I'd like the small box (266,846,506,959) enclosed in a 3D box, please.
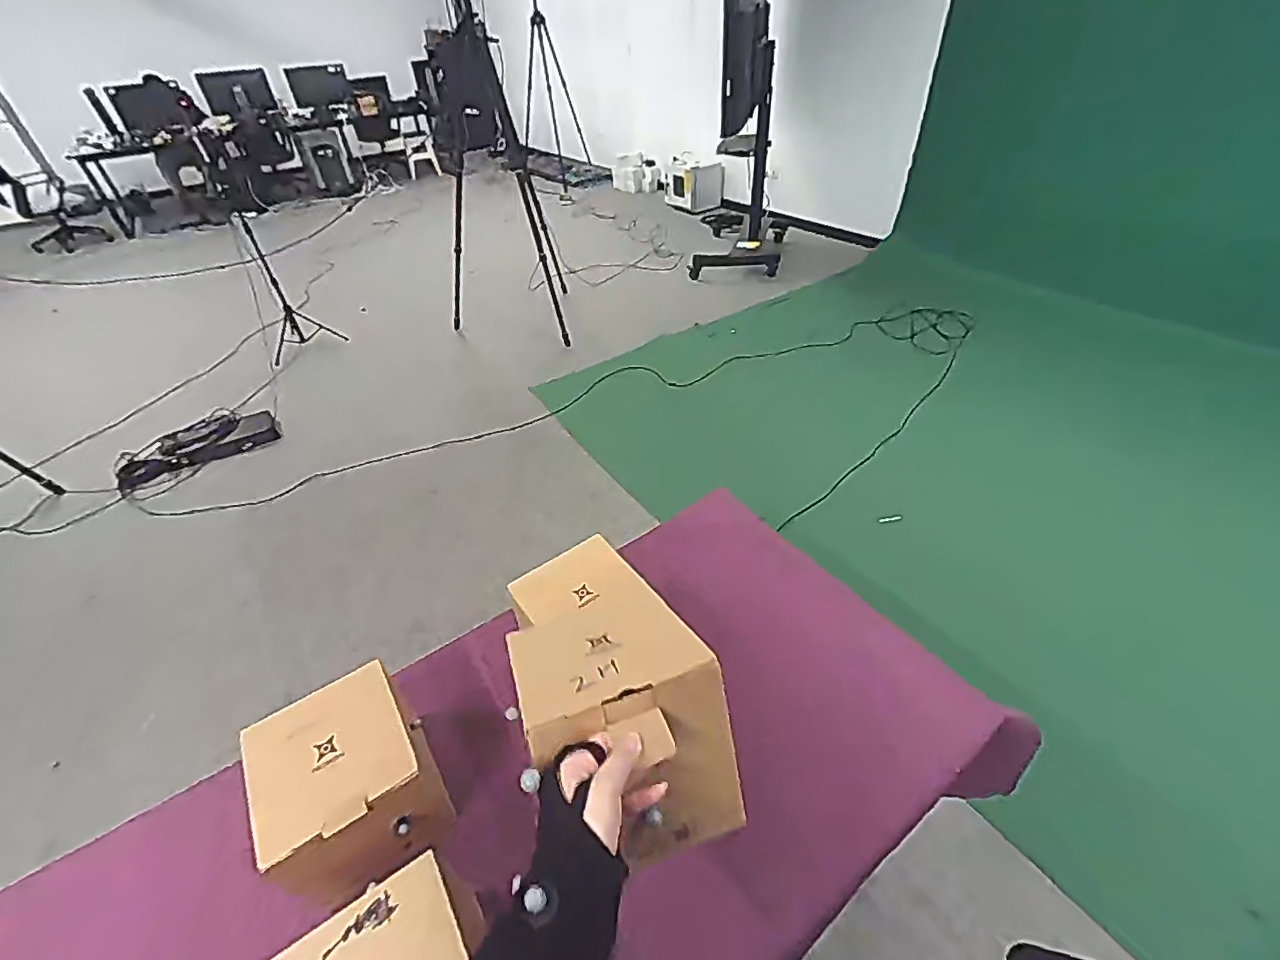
[{"bbox_3d":[-0.220,0.504,0.515,0.168,0.176,0.179,-26,46,-24],"label":"small box"}]

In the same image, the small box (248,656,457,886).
[{"bbox_3d":[-0.352,0.368,0.681,0.168,0.176,0.179,-26,46,-24],"label":"small box"}]

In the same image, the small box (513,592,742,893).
[{"bbox_3d":[-0.020,0.235,0.525,0.168,0.176,0.179,-15,13,-15],"label":"small box"}]

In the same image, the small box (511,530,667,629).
[{"bbox_3d":[-0.073,0.216,0.826,0.168,0.176,0.179,-29,48,-25],"label":"small box"}]
